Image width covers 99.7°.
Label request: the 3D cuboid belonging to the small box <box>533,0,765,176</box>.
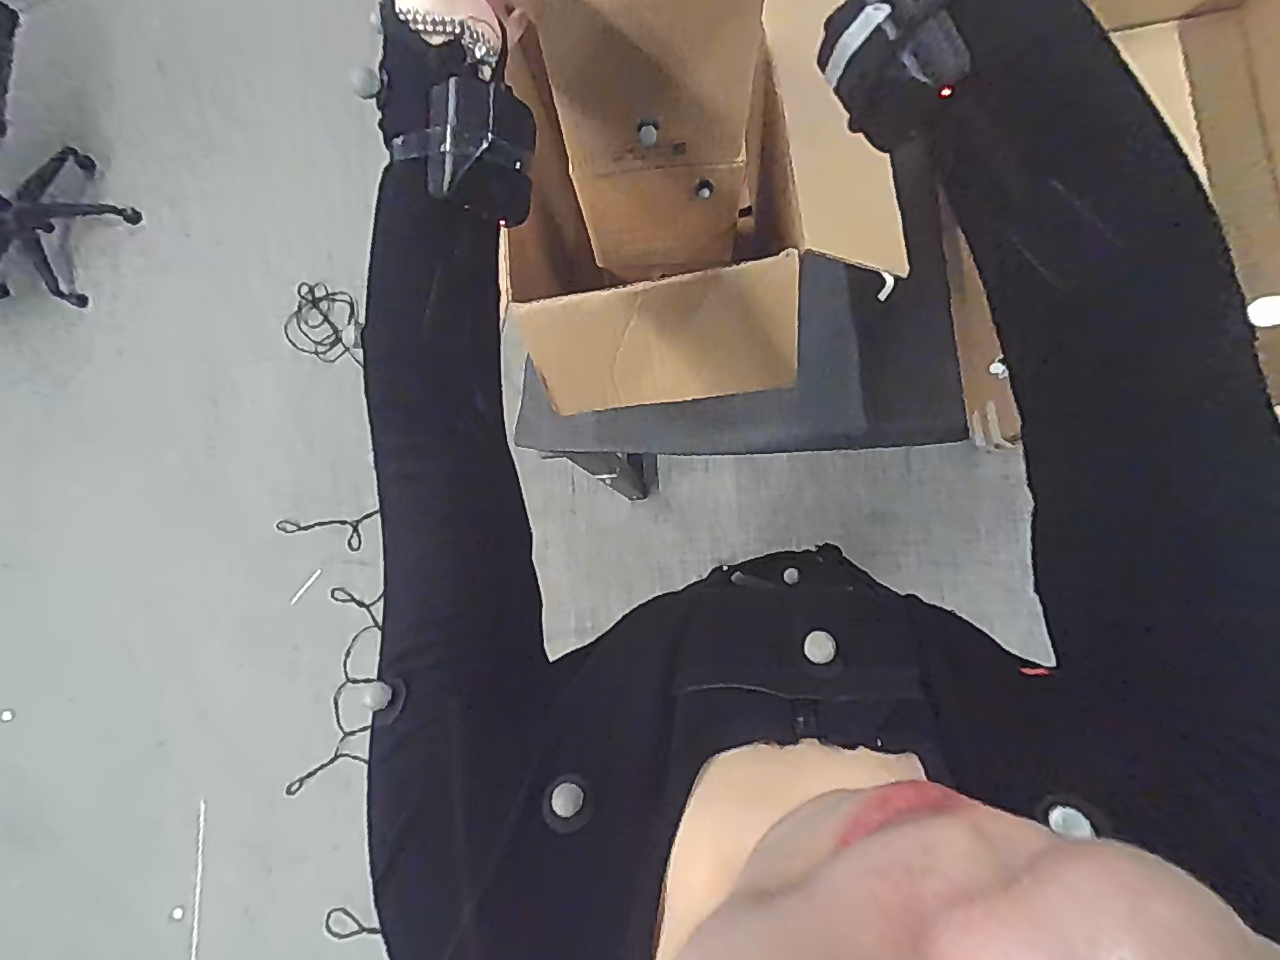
[{"bbox_3d":[0.005,-0.401,0.463,0.168,0.176,0.179,-5,80,3],"label":"small box"}]
